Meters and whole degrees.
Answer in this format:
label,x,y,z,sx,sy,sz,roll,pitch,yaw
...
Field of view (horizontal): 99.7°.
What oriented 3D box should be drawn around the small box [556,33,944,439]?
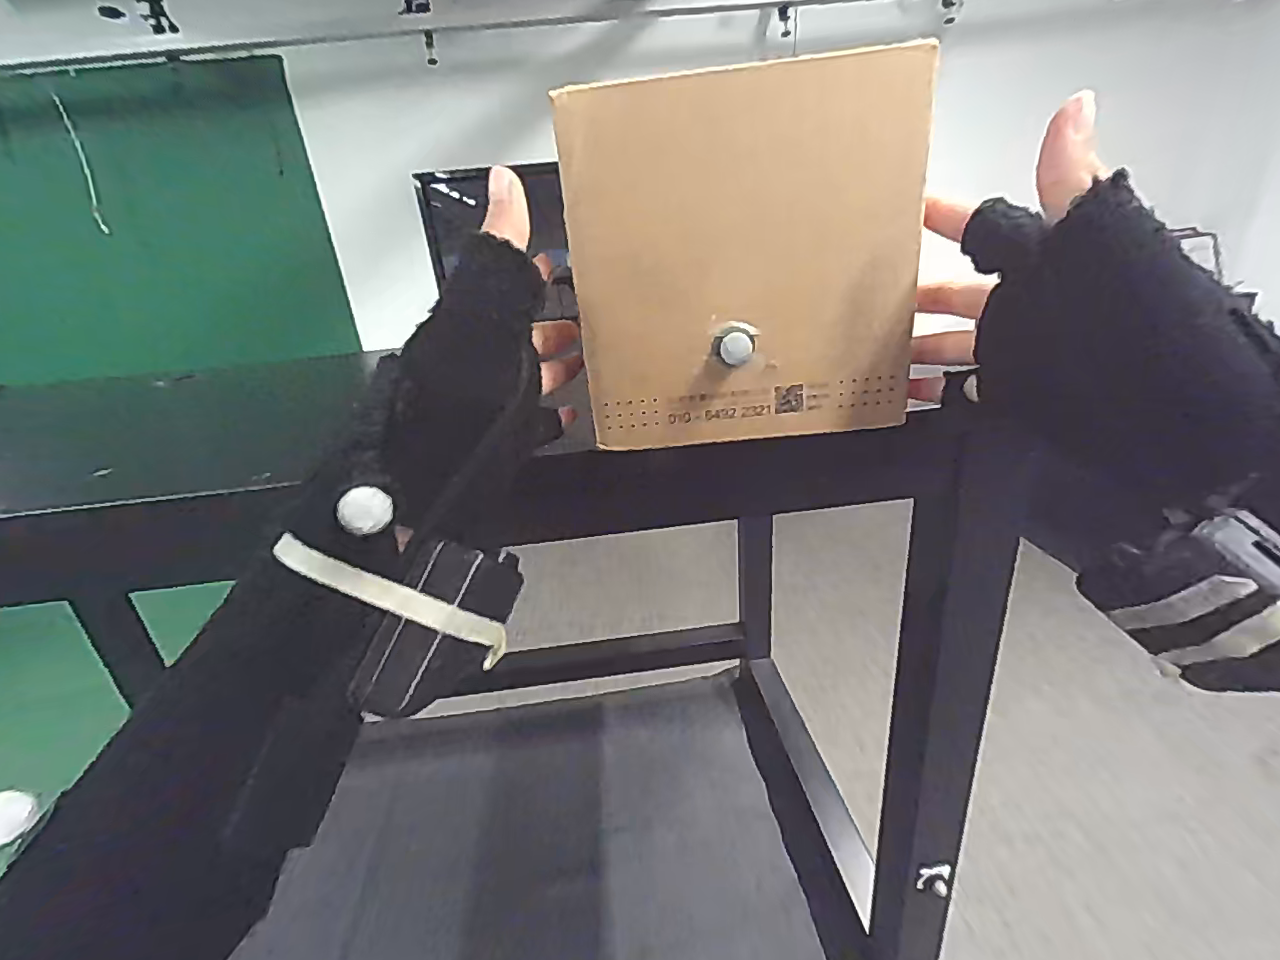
label,x,y,z,sx,sy,sz,roll,pitch,yaw
small box,0.054,-0.131,0.333,0.168,0.176,0.179,-5,22,4
